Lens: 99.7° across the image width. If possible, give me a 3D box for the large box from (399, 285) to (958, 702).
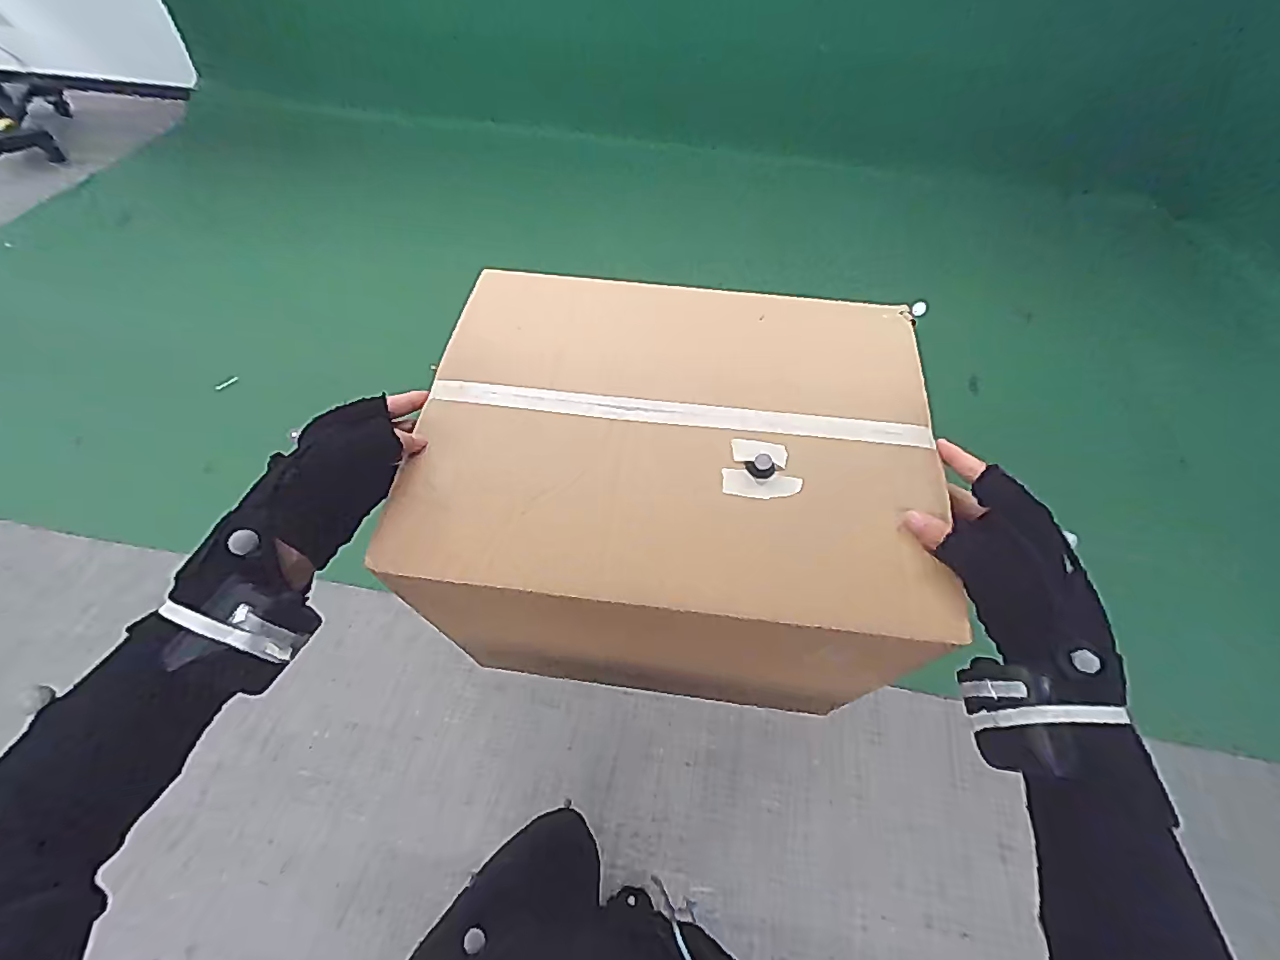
[{"bbox_3d":[0.034,0.031,0.580,0.408,0.320,0.320,7,59,2],"label":"large box"}]
